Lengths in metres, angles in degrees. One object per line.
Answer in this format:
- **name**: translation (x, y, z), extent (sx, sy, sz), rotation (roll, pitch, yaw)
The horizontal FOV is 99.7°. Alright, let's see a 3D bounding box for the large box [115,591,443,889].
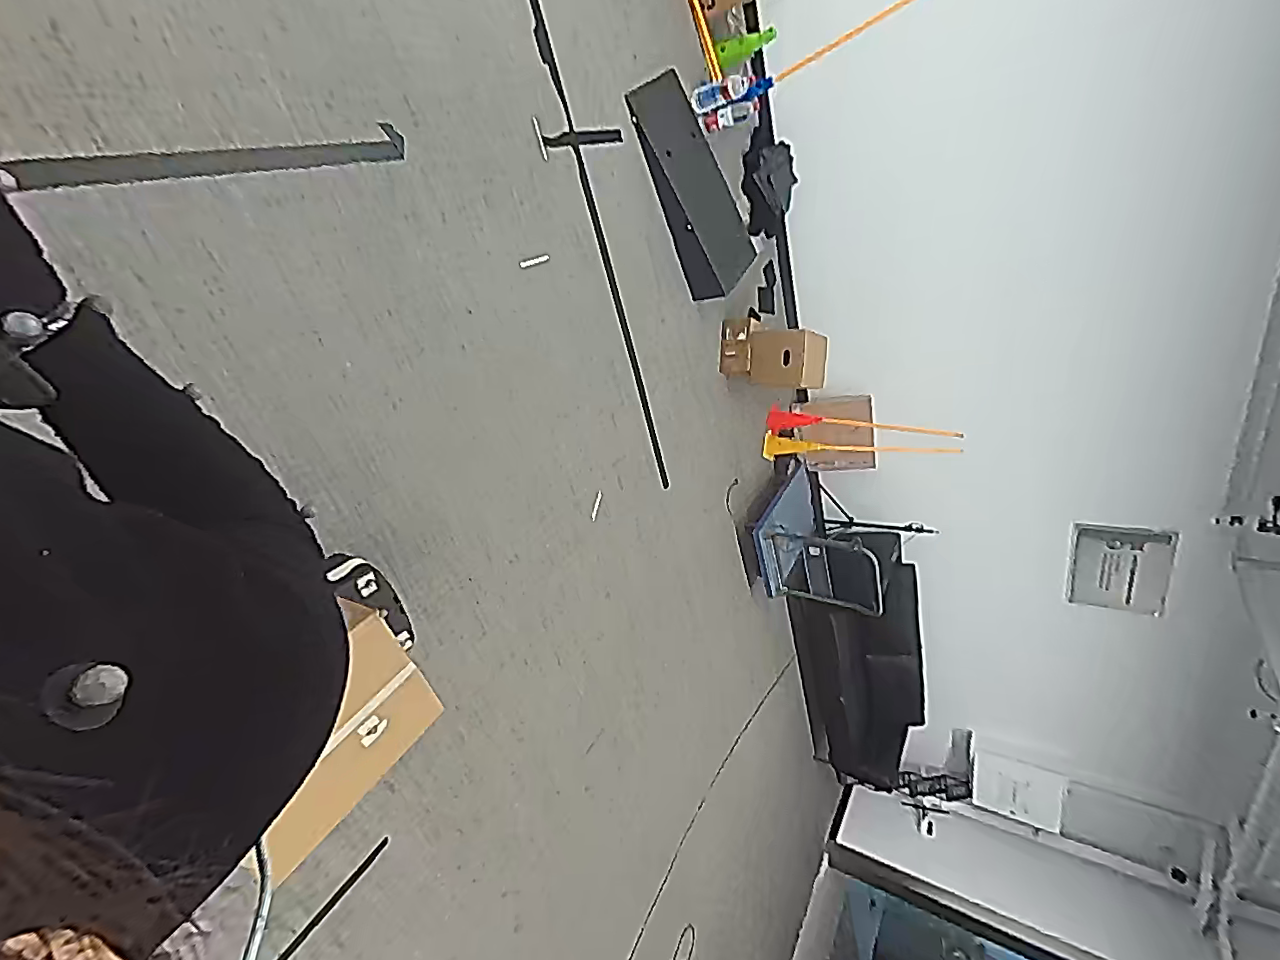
- **large box**: translation (-0.706, 0.490, 1.106), extent (0.408, 0.320, 0.320), rotation (-47, 129, -43)
